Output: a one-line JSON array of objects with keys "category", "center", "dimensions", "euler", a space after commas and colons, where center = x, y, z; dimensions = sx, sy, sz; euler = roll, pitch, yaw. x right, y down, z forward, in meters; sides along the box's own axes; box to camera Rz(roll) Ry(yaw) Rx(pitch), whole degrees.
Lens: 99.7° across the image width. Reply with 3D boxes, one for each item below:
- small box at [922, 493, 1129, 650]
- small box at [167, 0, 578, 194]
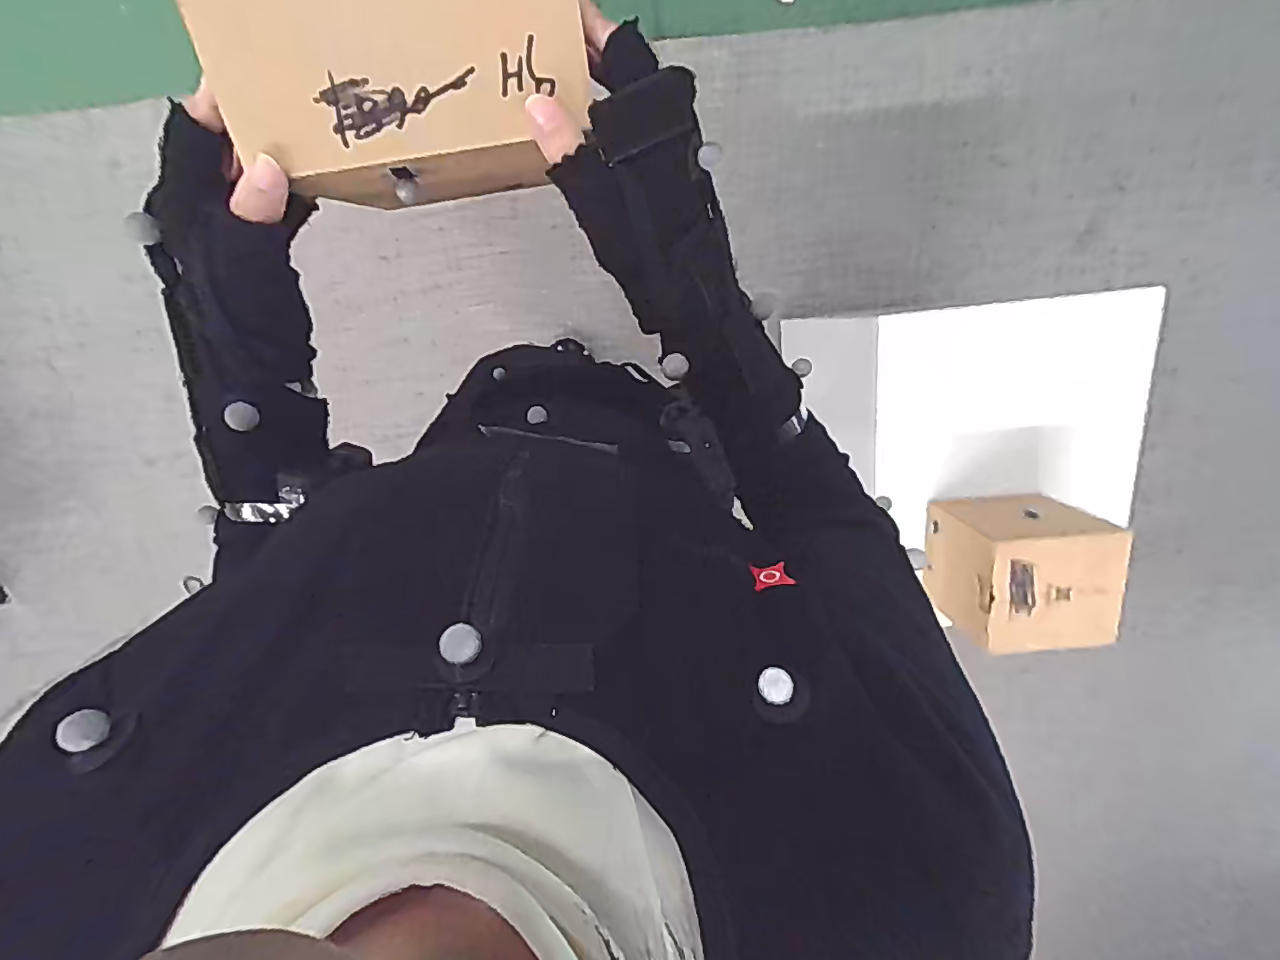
[{"category": "small box", "center": [0.533, 0.122, 0.776], "dimensions": [0.179, 0.176, 0.168], "euler": [-4, 105, 0]}, {"category": "small box", "center": [-0.130, -0.272, 0.294], "dimensions": [0.168, 0.176, 0.179], "euler": [-9, 113, -1]}]
